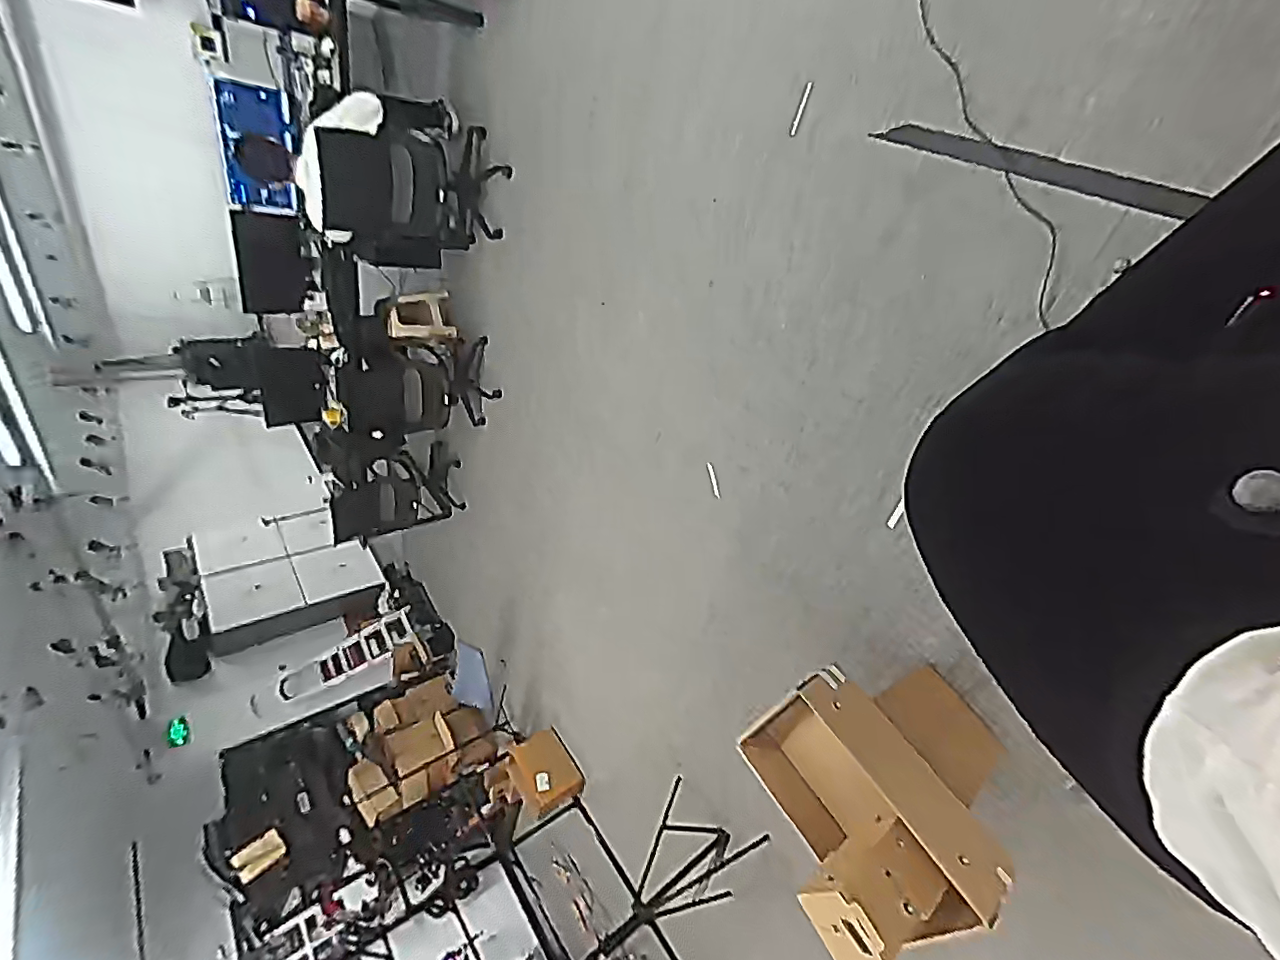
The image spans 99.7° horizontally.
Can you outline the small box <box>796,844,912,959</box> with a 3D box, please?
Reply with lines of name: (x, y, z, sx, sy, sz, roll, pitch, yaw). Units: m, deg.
small box: (0.524, 1.016, 1.307, 0.168, 0.176, 0.179, 56, 140, 22)
